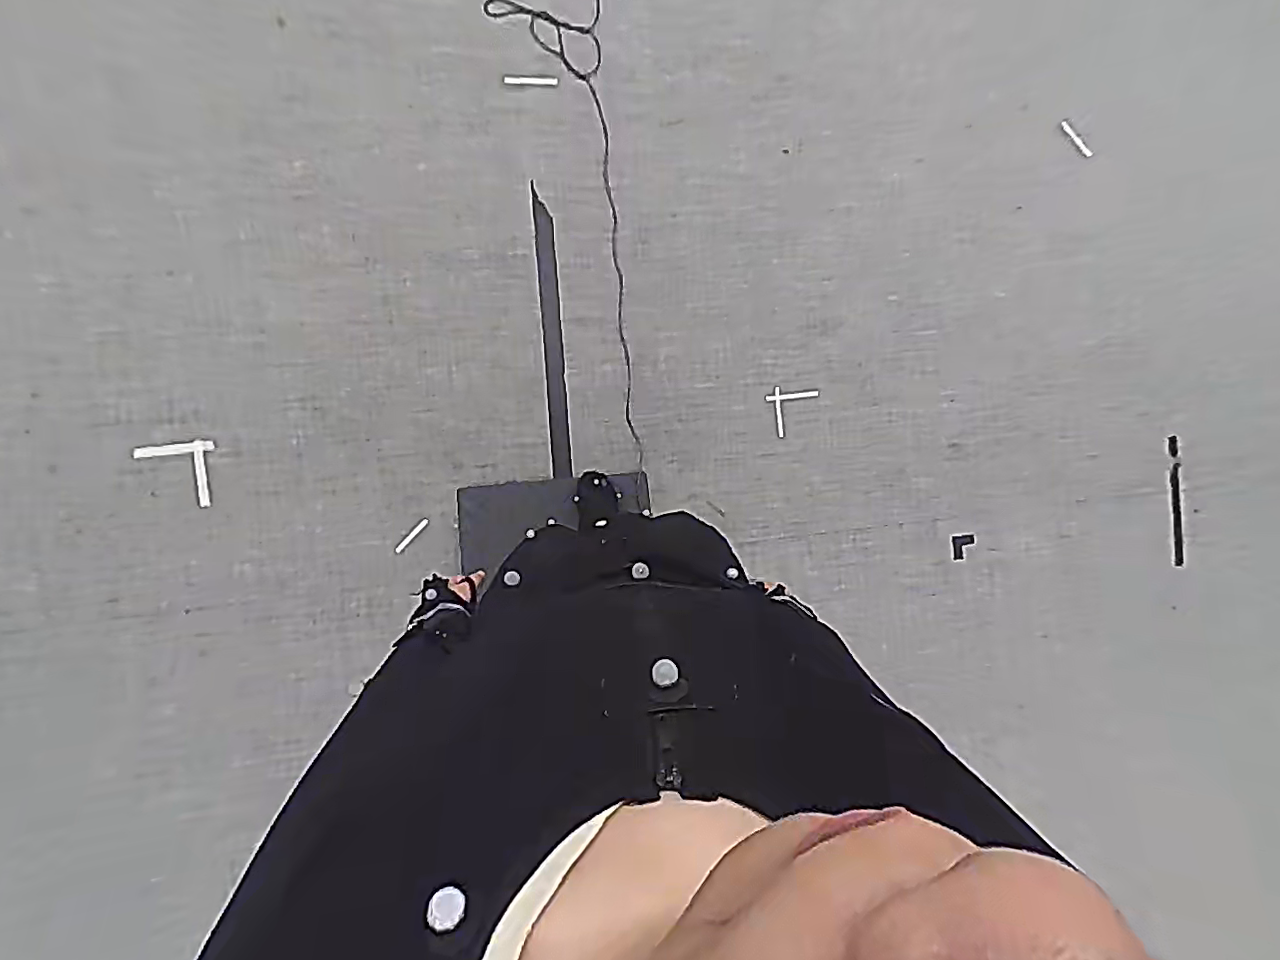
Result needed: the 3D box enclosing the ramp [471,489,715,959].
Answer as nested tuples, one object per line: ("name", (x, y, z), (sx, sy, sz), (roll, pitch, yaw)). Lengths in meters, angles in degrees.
("ramp", (-0.134, 0.531, 1.308), (0.509, 0.206, 0.991), (-8, 88, -6))
